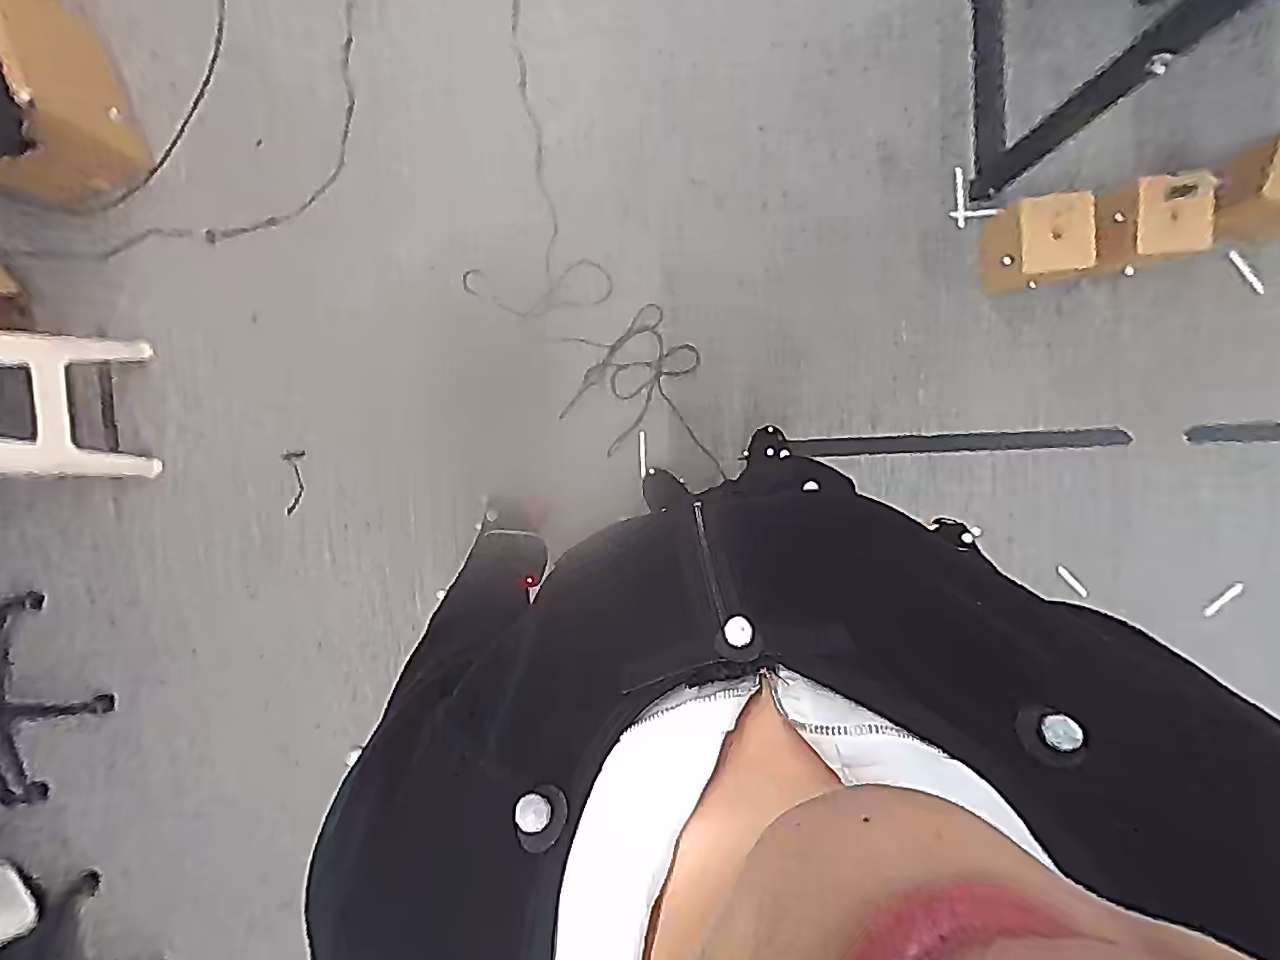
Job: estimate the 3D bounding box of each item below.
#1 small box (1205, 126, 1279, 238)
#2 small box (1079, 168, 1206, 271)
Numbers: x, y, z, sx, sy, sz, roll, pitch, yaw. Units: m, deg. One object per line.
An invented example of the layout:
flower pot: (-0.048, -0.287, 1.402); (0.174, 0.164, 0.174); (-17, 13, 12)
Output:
small box: (1.515, -0.712, 1.310); (0.179, 0.176, 0.168); (18, 94, 3)
small box: (1.225, -0.632, 1.329); (0.168, 0.176, 0.179); (-4, 95, 3)
